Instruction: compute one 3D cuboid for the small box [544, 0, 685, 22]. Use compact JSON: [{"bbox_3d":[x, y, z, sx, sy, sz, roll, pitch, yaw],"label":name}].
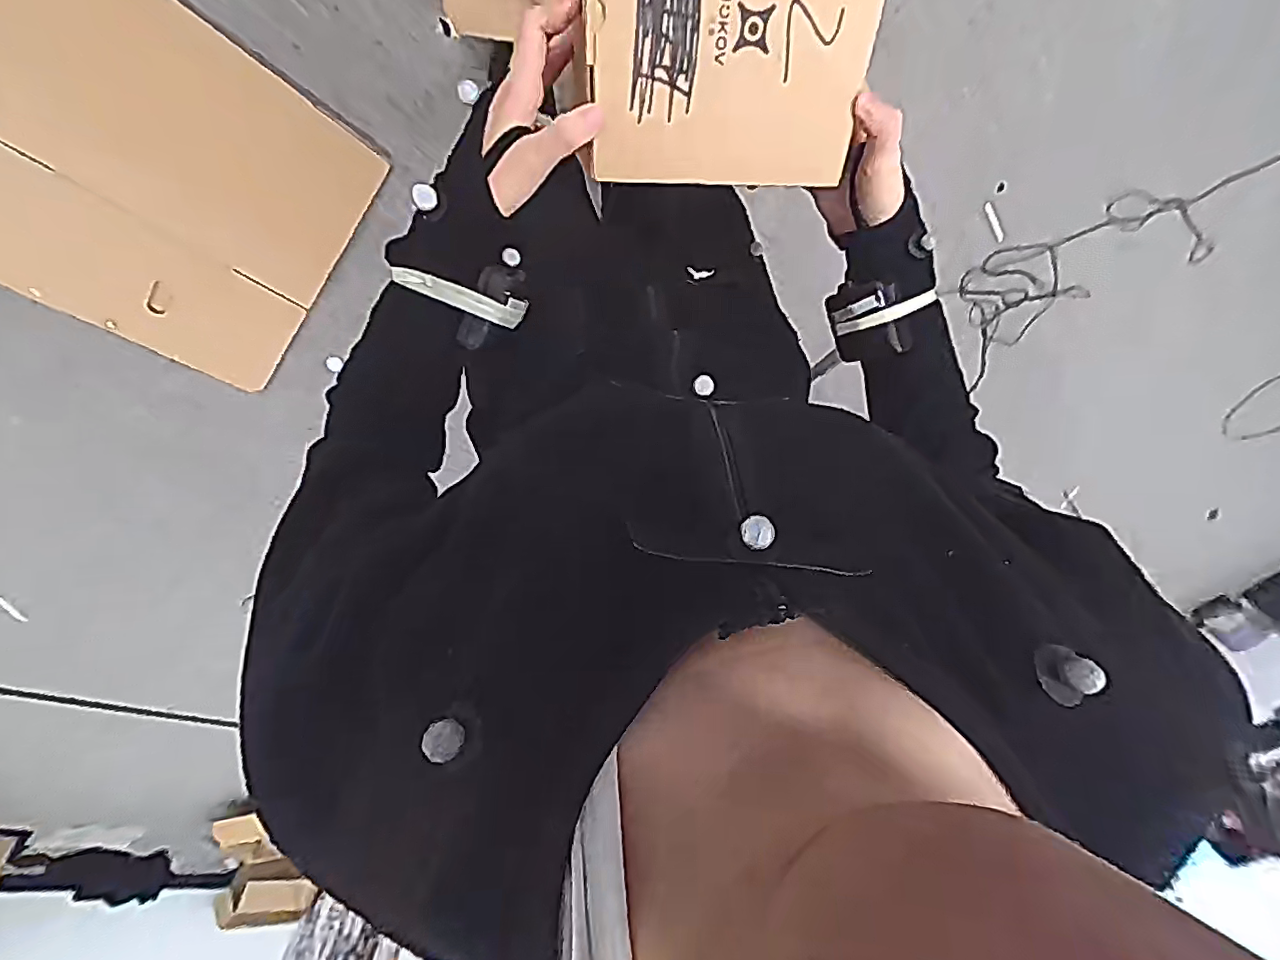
[{"bbox_3d":[-0.039,-0.686,0.668,0.179,0.176,0.168,-5,135,-12],"label":"small box"}]
